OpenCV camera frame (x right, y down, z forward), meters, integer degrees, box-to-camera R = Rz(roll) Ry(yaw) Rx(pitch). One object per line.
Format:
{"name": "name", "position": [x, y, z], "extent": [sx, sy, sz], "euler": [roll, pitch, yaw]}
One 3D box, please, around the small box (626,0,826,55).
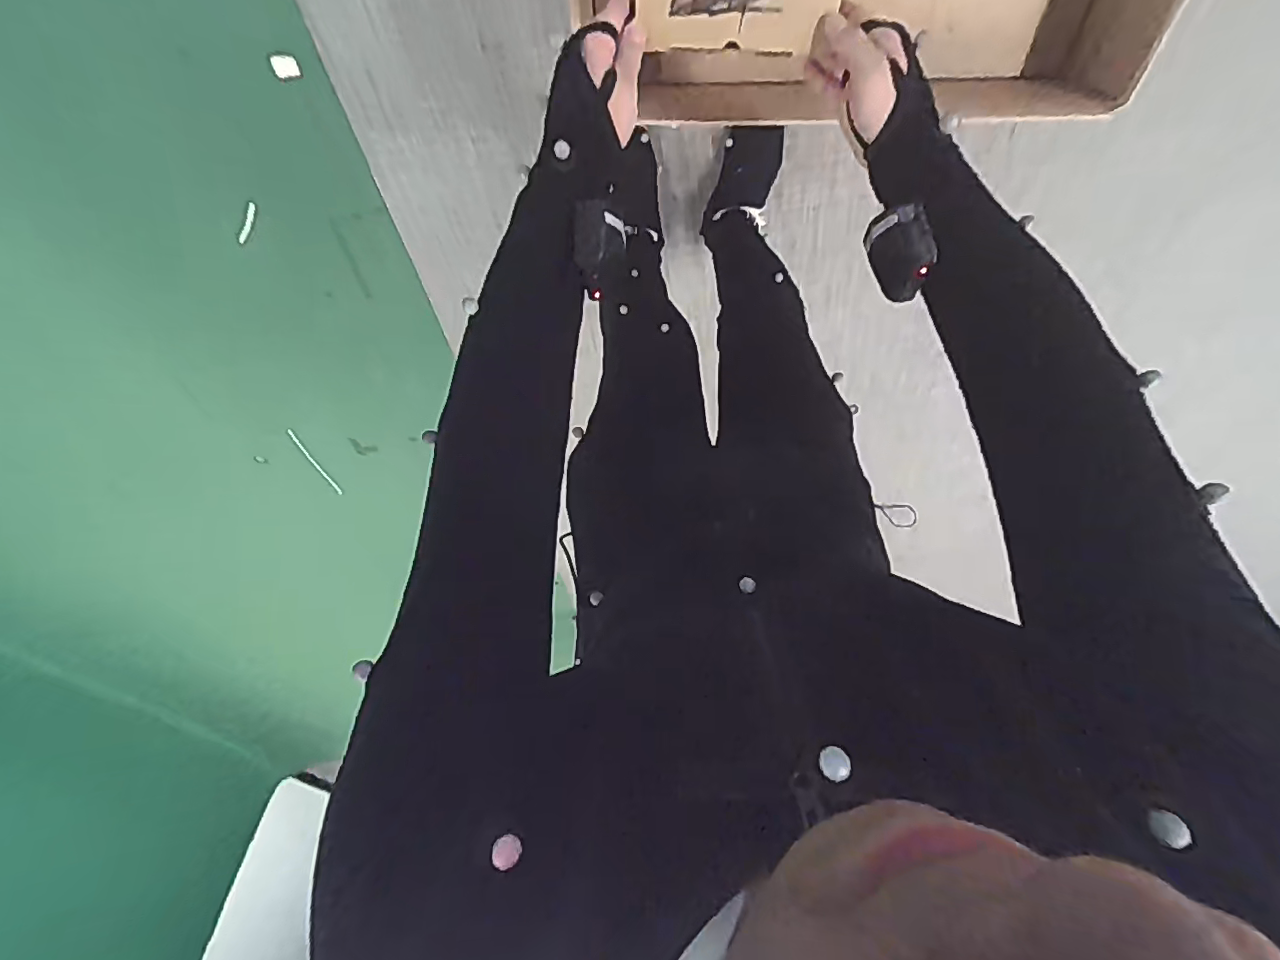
{"name": "small box", "position": [0.078, -0.486, 0.454], "extent": [0.168, 0.176, 0.179], "euler": [4, 137, 3]}
